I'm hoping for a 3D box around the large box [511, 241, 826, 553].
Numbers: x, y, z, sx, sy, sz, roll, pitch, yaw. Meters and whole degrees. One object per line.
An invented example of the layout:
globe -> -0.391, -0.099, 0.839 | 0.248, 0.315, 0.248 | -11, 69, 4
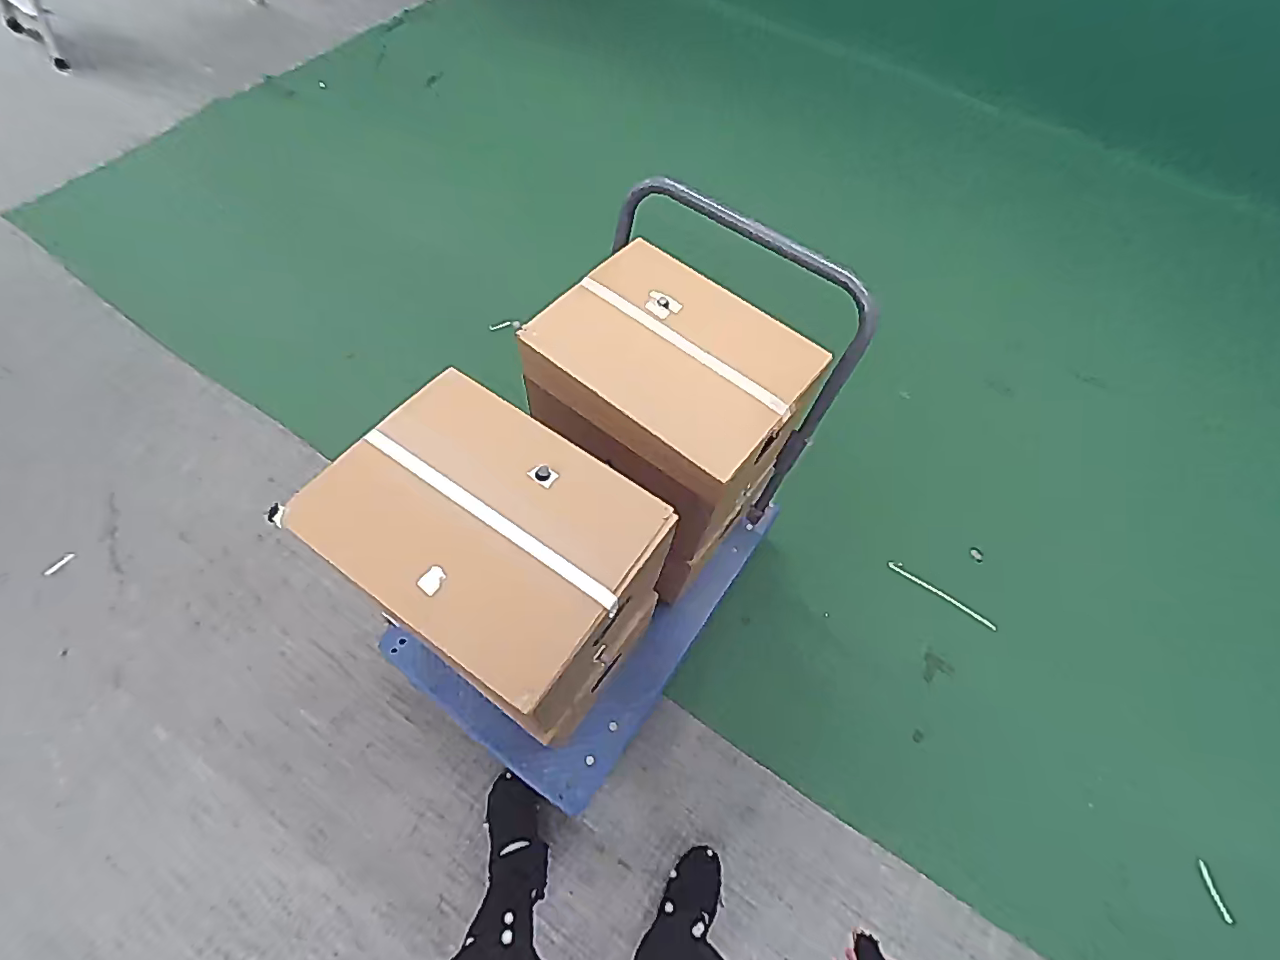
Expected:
large box -> 0.043, -0.139, 0.972 | 0.408, 0.320, 0.320 | 37, 65, 16
